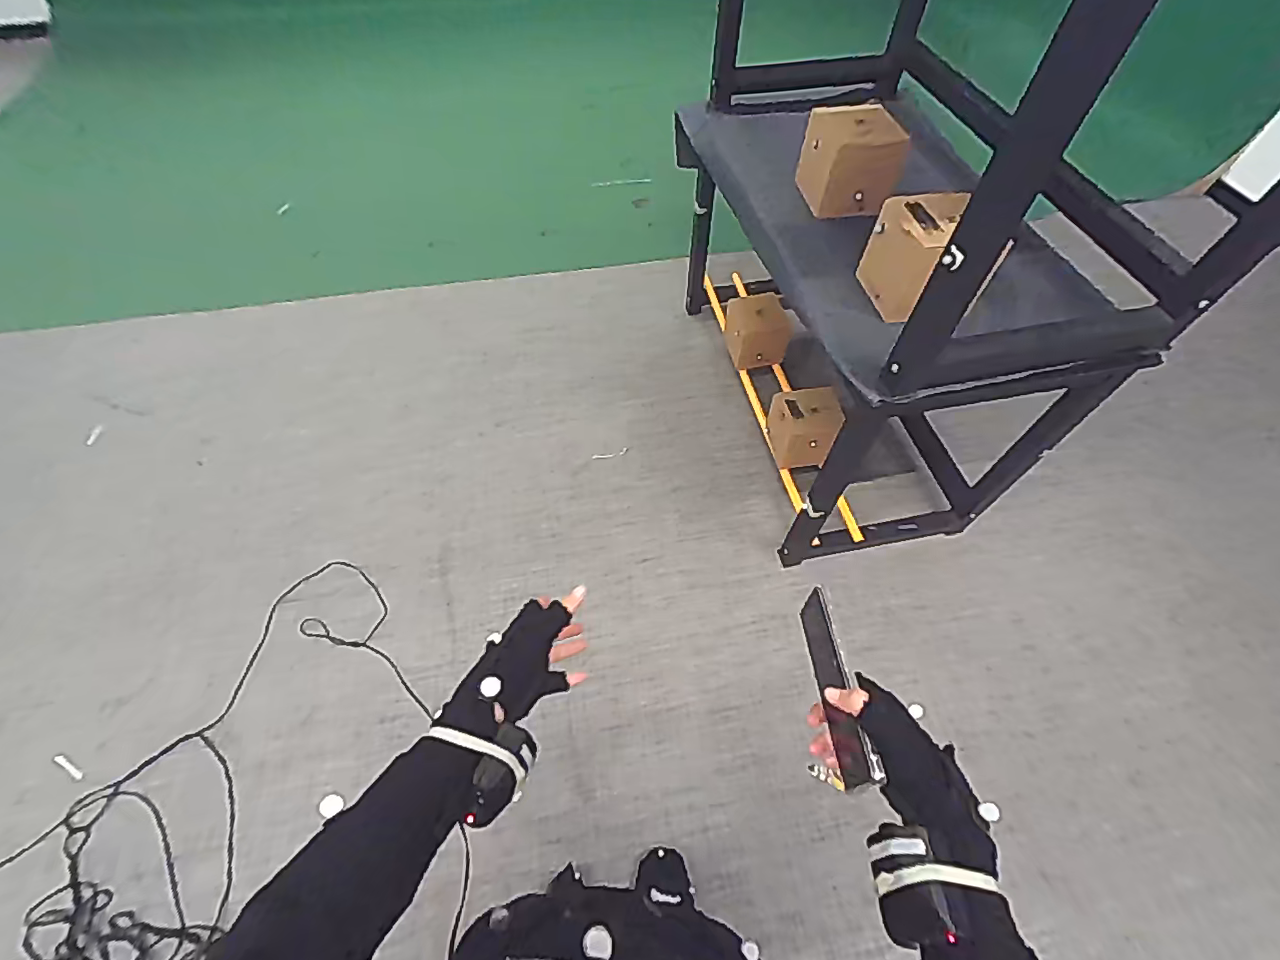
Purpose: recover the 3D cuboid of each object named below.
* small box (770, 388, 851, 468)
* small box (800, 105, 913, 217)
[{"bbox_3d":[0.497,-0.151,1.613,0.179,0.176,0.168,-7,57,-4],"label":"small box"},{"bbox_3d":[0.488,-0.737,1.253,0.168,0.176,0.179,-7,57,-4],"label":"small box"}]
